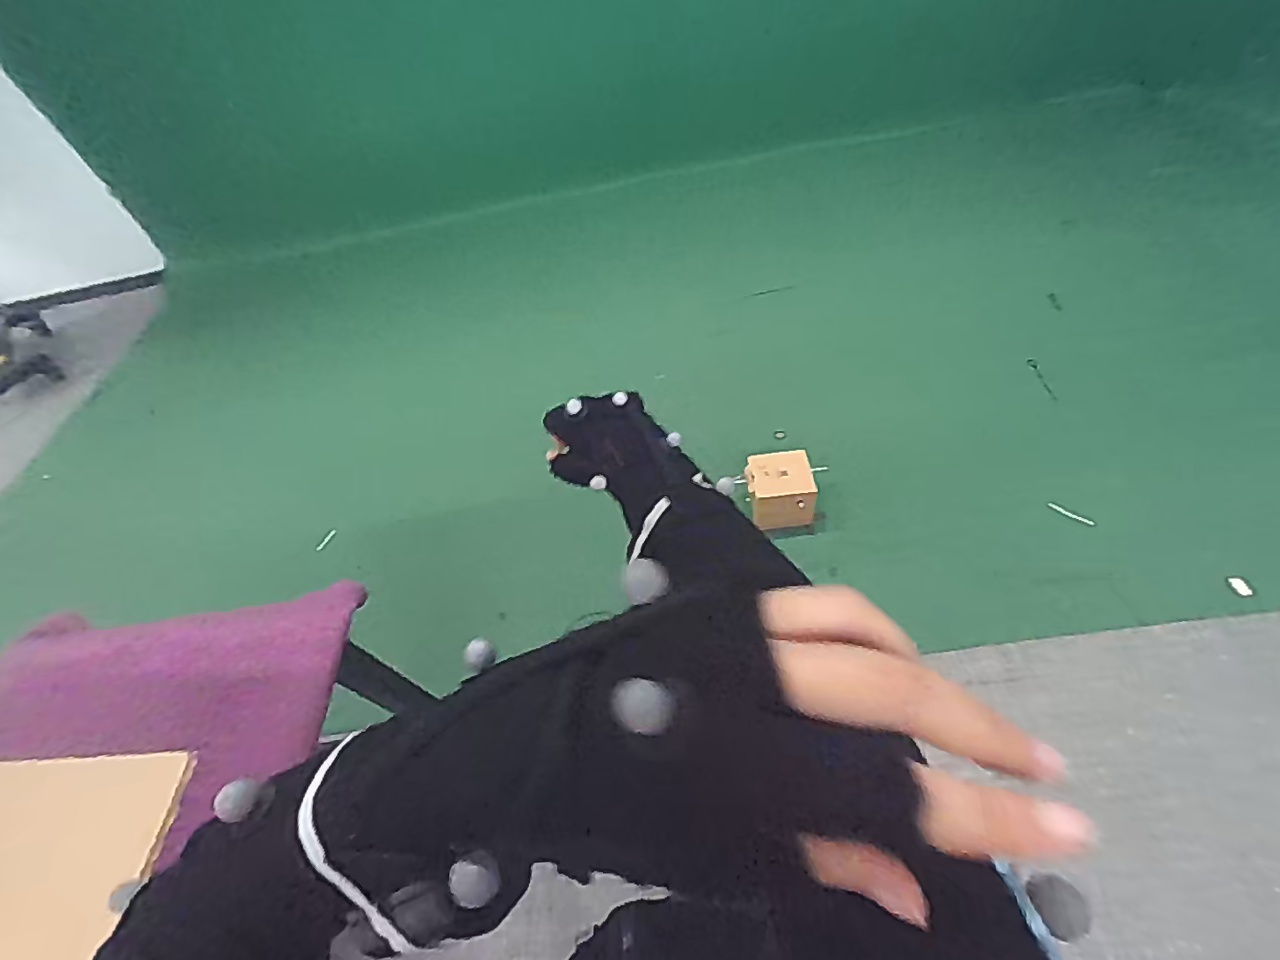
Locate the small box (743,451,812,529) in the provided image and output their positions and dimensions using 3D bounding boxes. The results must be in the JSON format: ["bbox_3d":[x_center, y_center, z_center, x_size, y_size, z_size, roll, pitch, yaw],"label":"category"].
[{"bbox_3d":[0.416,0.035,1.663,0.179,0.176,0.168,-7,50,5],"label":"small box"}]
